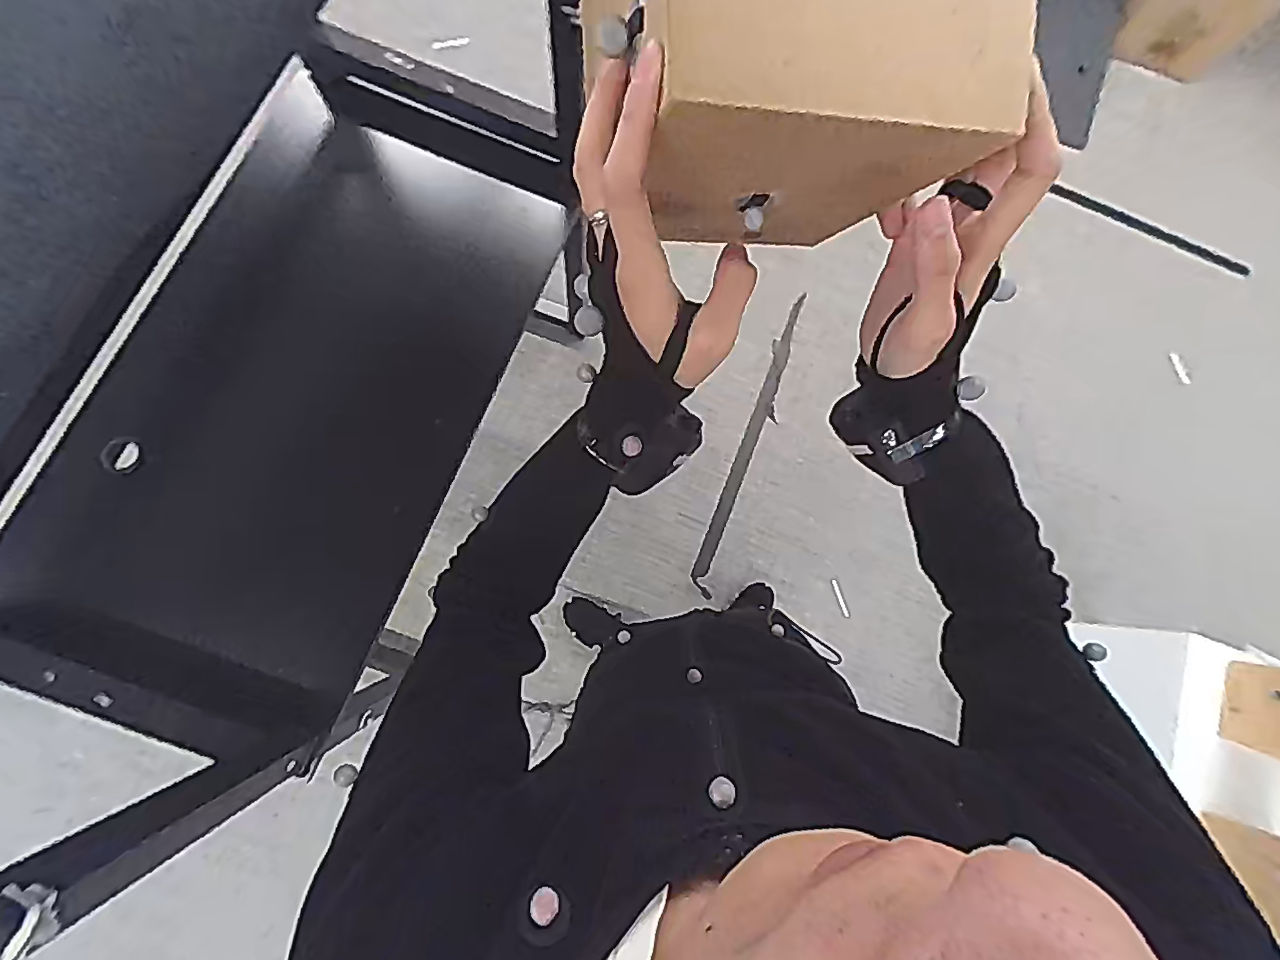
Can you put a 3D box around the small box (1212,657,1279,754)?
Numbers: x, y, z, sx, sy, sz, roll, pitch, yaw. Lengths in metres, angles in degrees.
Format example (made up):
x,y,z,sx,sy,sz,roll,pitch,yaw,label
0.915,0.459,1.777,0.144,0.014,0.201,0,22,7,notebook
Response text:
x,y,z,sx,sy,sz,roll,pitch,yaw,label
1.316,0.466,1.081,0.179,0.176,0.168,22,79,-2,small box

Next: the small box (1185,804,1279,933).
x,y,z,sx,sy,sz,roll,pitch,yaw,label
1.199,0.744,1.016,0.179,0.176,0.168,19,77,-3,small box

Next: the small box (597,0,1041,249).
x,y,z,sx,sy,sz,roll,pitch,yaw,label
0.072,-0.236,0.288,0.168,0.176,0.179,-3,98,-14,small box
